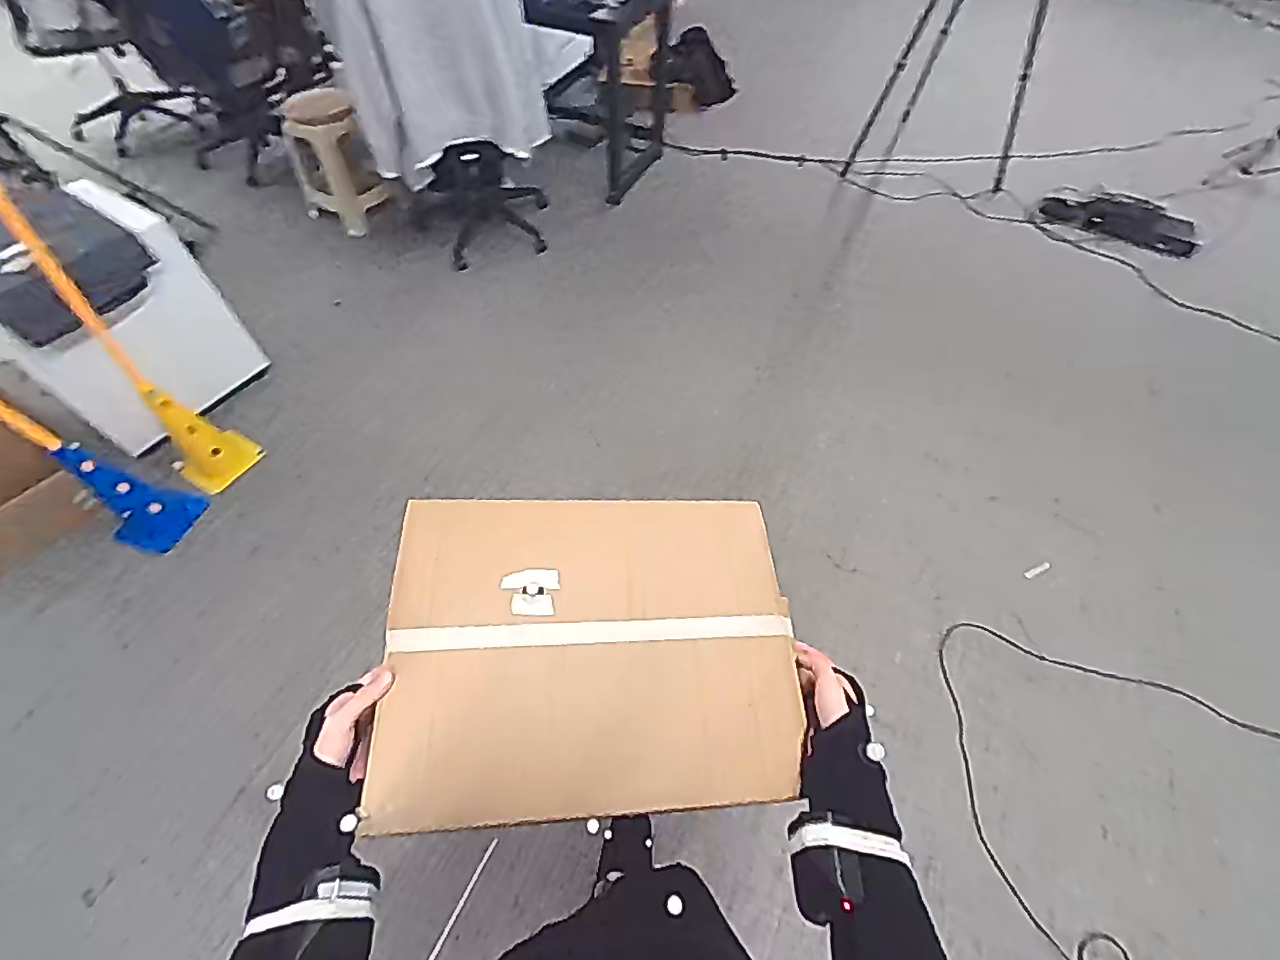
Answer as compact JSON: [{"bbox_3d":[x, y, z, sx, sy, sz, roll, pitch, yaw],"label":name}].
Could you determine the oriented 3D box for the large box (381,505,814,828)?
[{"bbox_3d":[-0.053,0.237,0.690,0.408,0.320,0.320,1,59,-8],"label":"large box"}]
